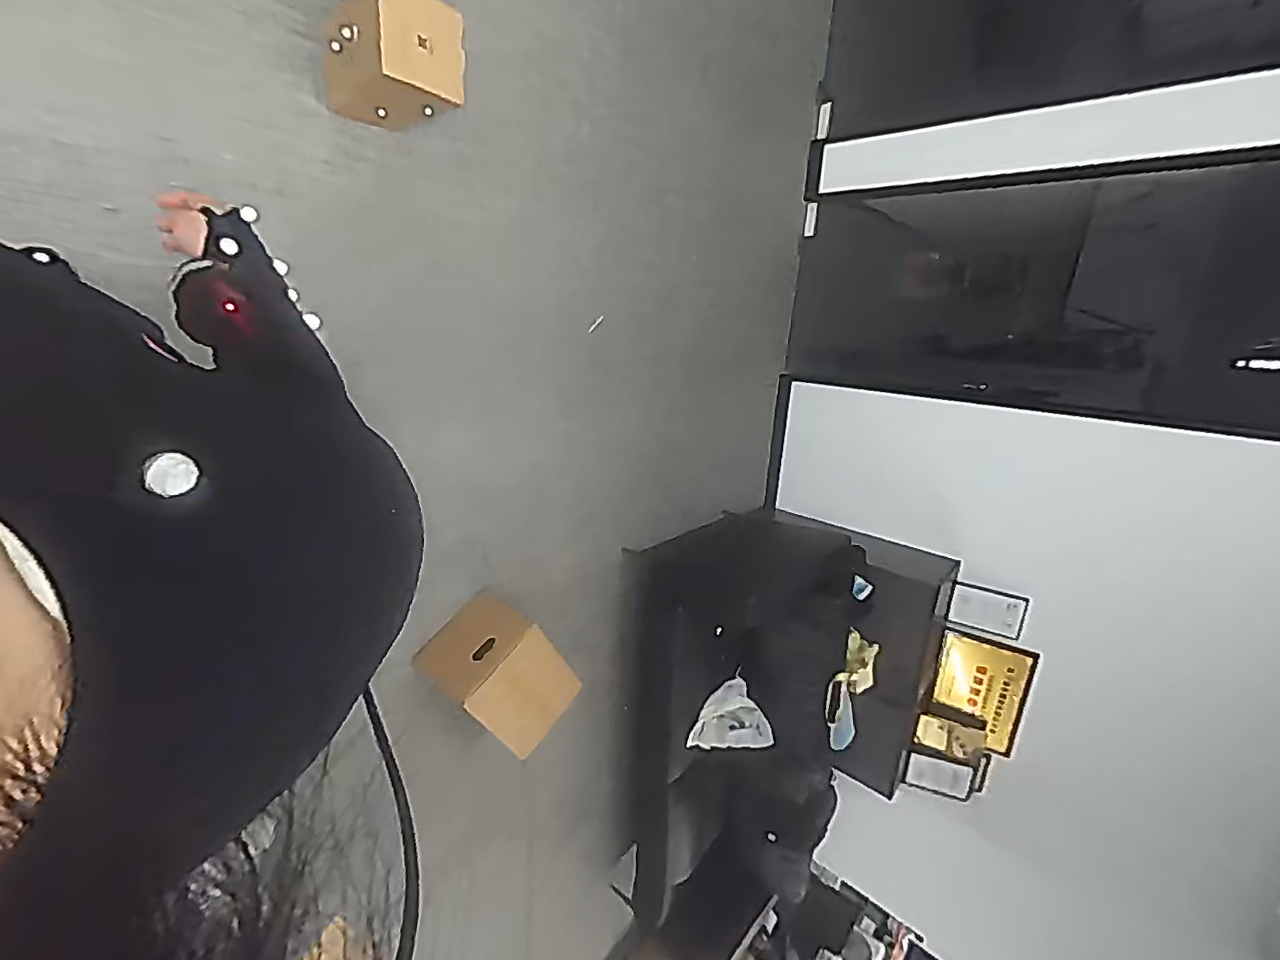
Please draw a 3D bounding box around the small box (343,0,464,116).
[{"bbox_3d":[-0.486,-0.882,1.119,0.179,0.176,0.168,-13,112,-46],"label":"small box"}]

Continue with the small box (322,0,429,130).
[{"bbox_3d":[-0.600,-0.928,1.226,0.168,0.176,0.179,-13,113,-47],"label":"small box"}]
